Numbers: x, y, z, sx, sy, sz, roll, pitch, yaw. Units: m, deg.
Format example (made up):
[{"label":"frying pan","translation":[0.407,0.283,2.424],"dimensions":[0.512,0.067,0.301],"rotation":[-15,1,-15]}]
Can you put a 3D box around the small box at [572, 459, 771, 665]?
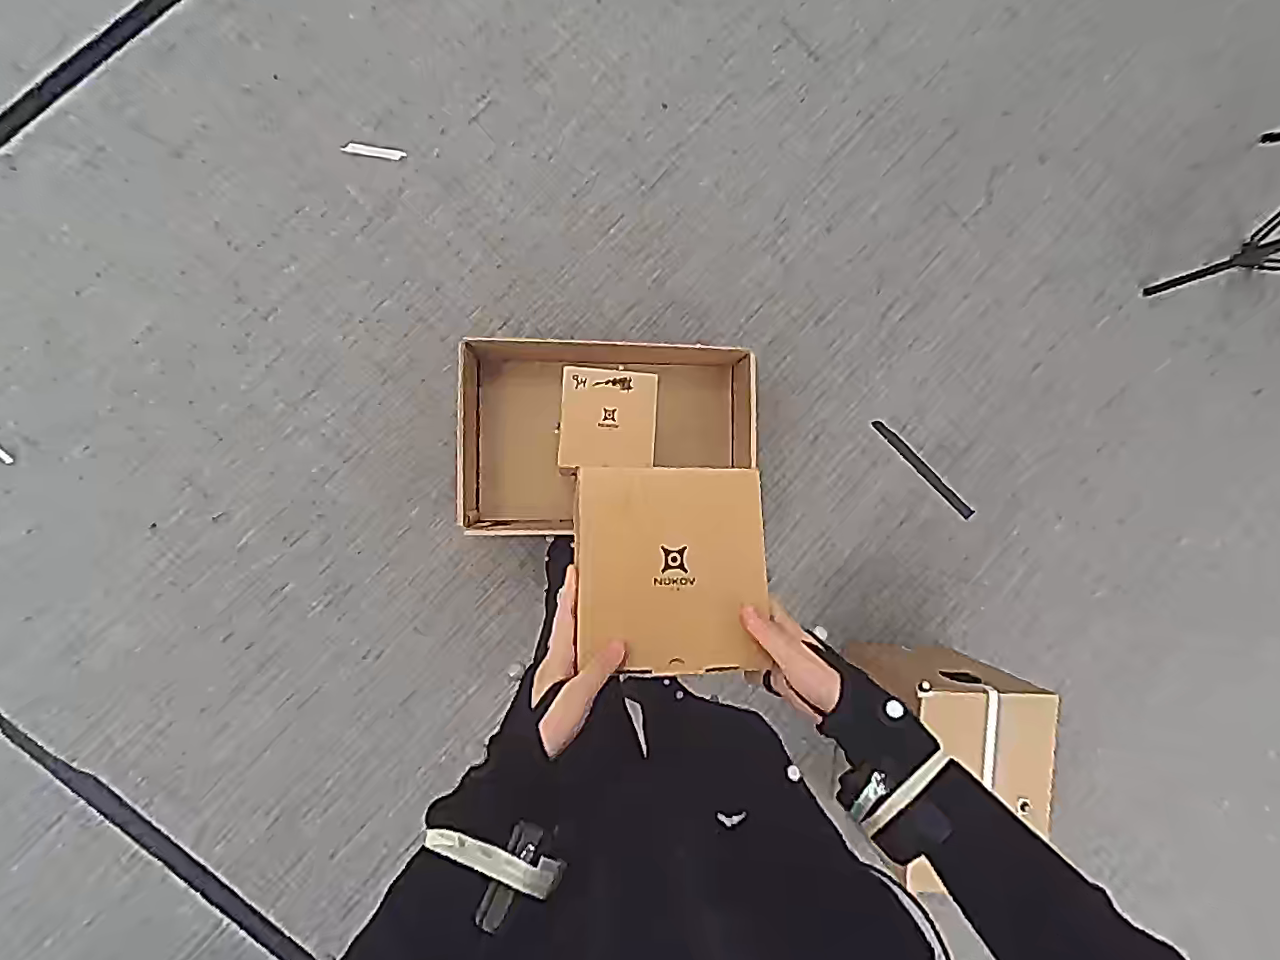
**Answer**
[{"label":"small box","translation":[0.017,0.087,0.543],"dimensions":[0.168,0.176,0.179],"rotation":[1,76,-8]}]

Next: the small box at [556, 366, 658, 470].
[{"label":"small box","translation":[-0.066,-0.102,1.005],"dimensions":[0.168,0.176,0.179],"rotation":[4,89,-8]}]
